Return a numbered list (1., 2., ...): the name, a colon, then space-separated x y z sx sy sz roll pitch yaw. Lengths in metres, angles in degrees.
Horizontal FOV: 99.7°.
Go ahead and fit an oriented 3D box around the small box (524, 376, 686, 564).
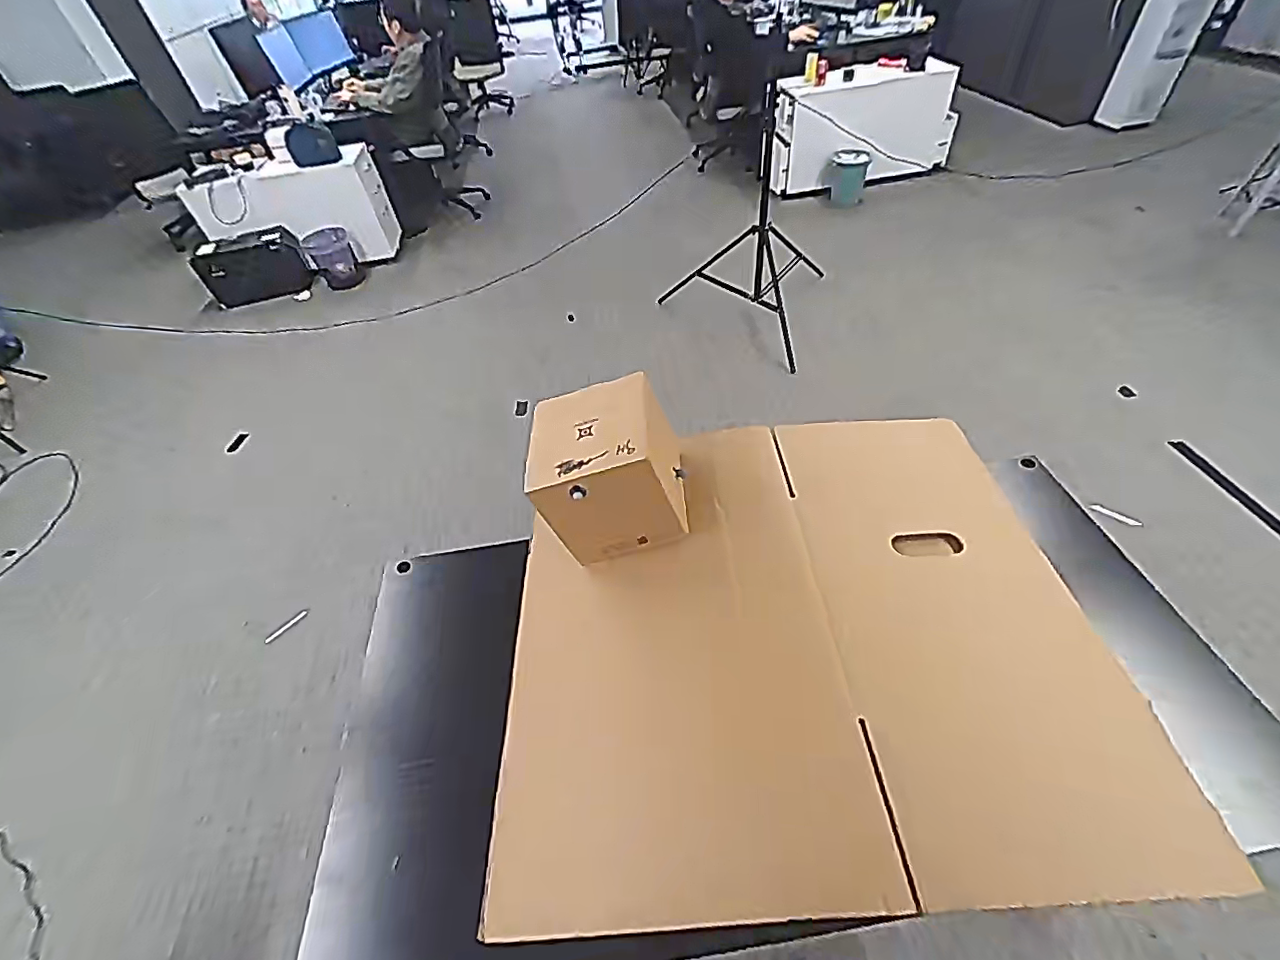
1. small box: -0.041 -0.010 0.755 0.168 0.176 0.179 -16 44 13
